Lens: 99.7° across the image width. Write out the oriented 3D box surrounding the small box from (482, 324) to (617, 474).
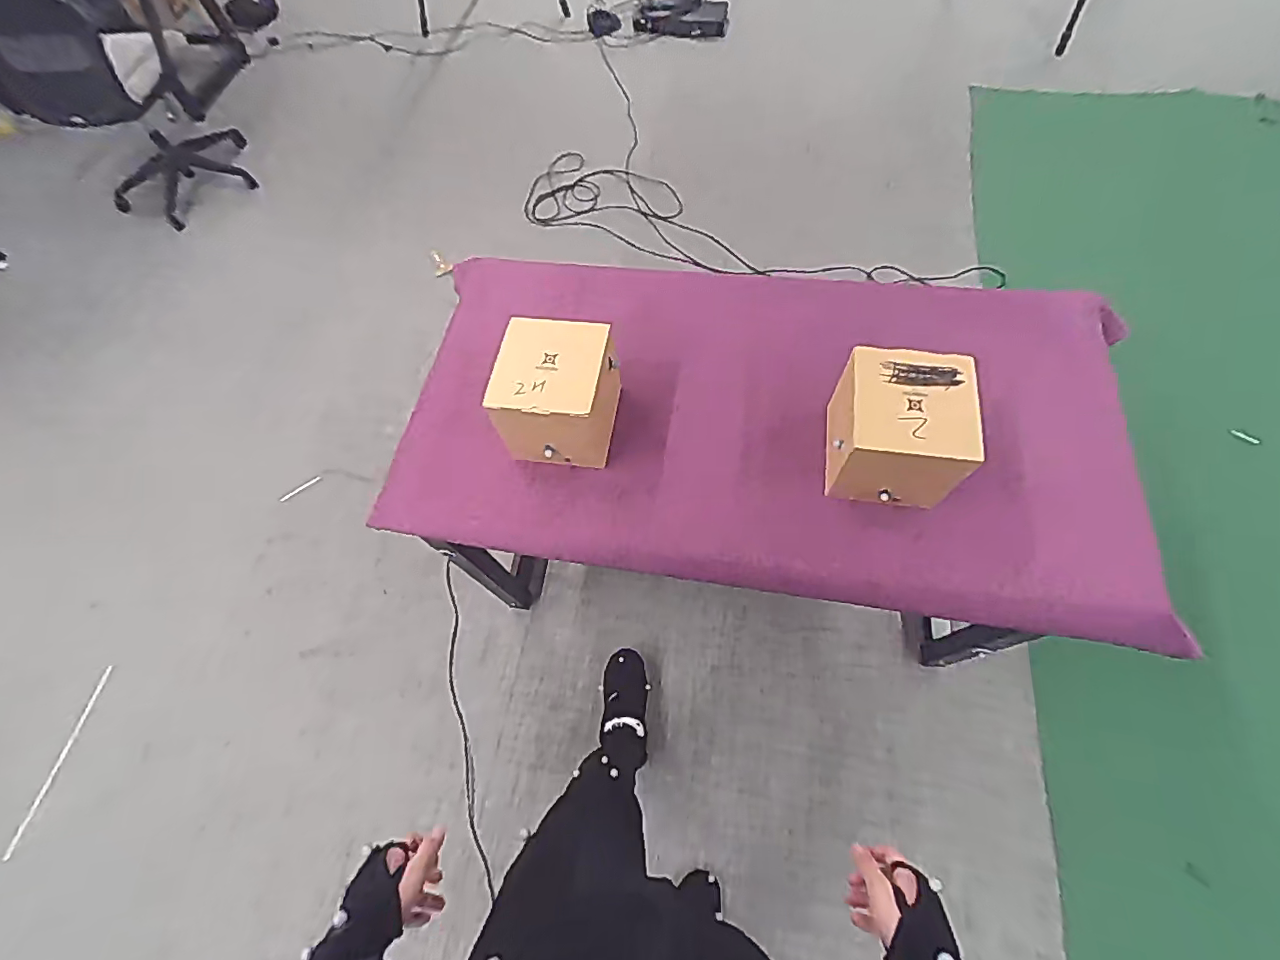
[{"bbox_3d":[-0.137,-0.131,0.899,0.168,0.176,0.179,6,64,8],"label":"small box"}]
